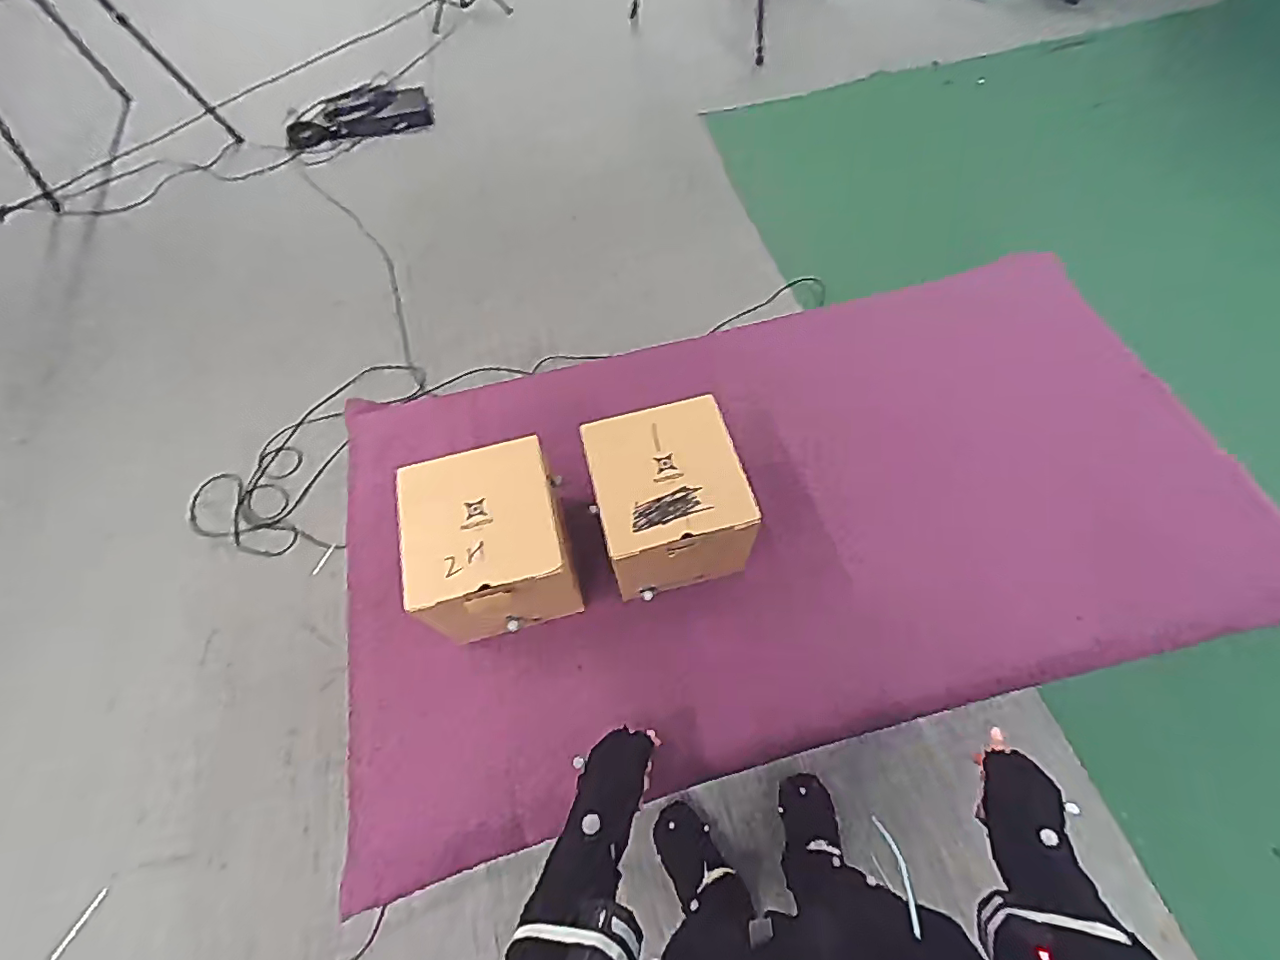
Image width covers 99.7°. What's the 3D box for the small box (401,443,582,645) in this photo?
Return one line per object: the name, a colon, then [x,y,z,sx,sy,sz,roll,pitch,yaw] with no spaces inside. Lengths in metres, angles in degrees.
small box: [-0.176,0.085,0.667,0.168,0.176,0.179,-15,62,-4]
